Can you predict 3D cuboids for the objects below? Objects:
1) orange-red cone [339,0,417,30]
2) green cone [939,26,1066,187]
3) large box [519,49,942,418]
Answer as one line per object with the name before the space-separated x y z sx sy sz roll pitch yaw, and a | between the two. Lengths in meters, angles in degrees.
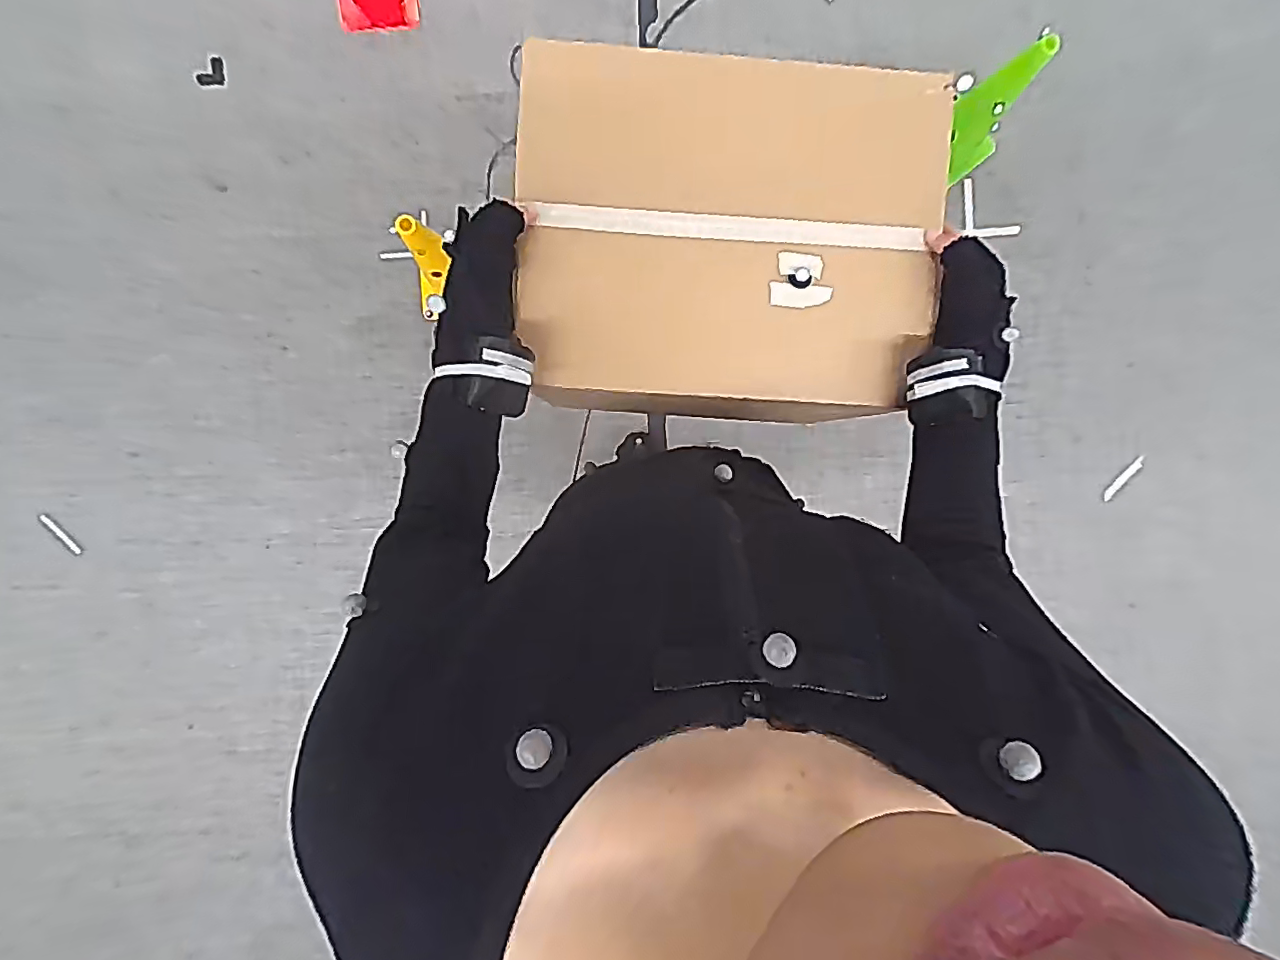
orange-red cone | -0.669 -1.239 1.205 0.198 0.360 0.199 -5 95 0
green cone | 0.830 -0.901 1.269 0.202 0.368 0.200 -40 95 -1
large box | 0.079 -0.246 0.663 0.408 0.320 0.320 3 93 -3
